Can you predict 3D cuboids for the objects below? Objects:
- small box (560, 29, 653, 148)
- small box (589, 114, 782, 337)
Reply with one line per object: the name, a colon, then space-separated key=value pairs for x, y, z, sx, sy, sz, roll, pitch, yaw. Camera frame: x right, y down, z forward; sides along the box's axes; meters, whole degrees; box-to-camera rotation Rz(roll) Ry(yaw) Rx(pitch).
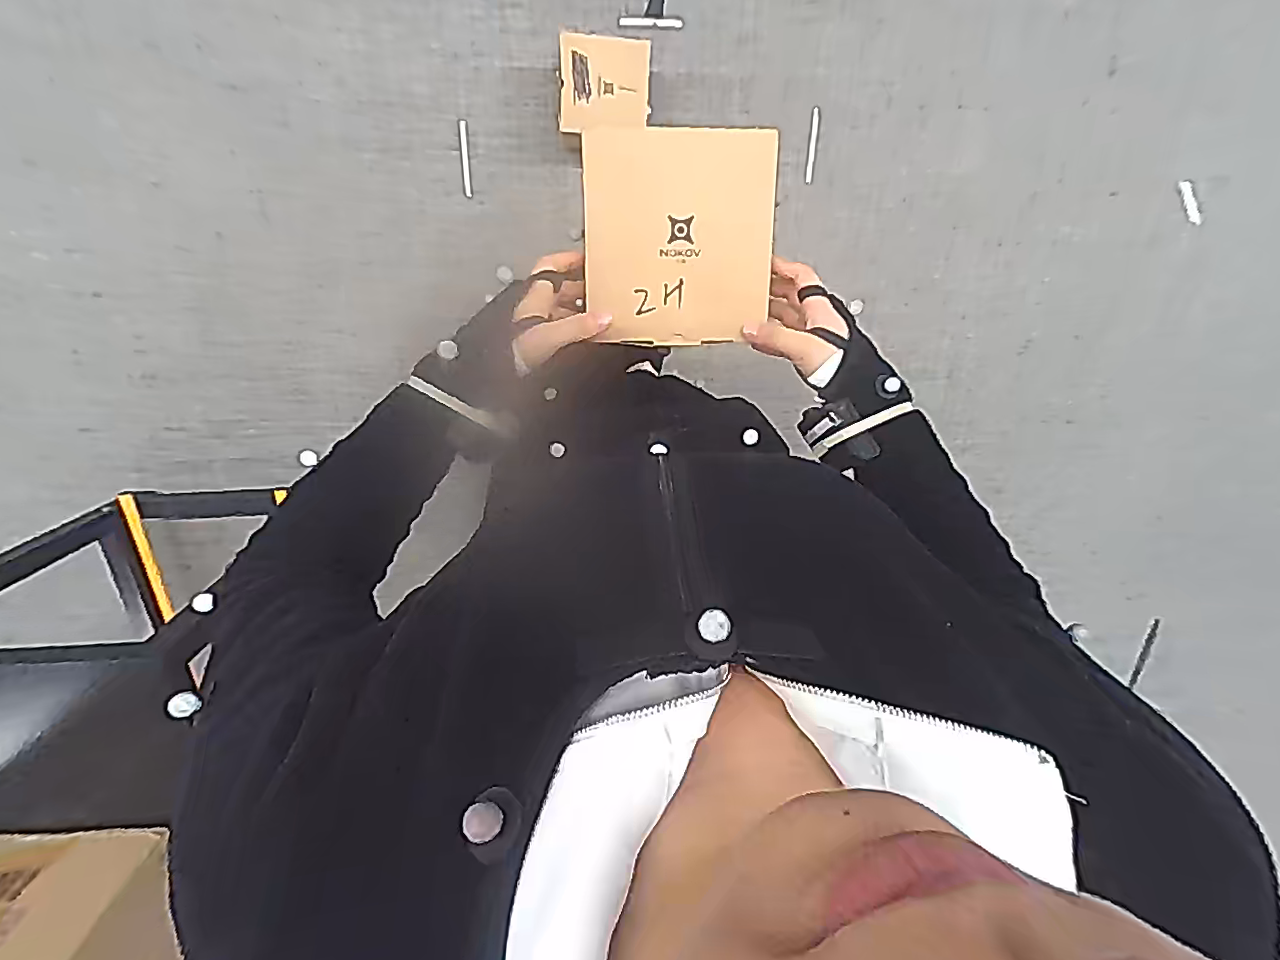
small box: x=-0.074 y=-0.797 z=1.124 sx=0.179 sy=0.176 sz=0.168 roll=1 pitch=112 yaw=-6
small box: x=0.032 y=-0.236 z=0.544 sx=0.168 sy=0.176 sz=0.179 roll=0 pitch=107 yaw=-3
